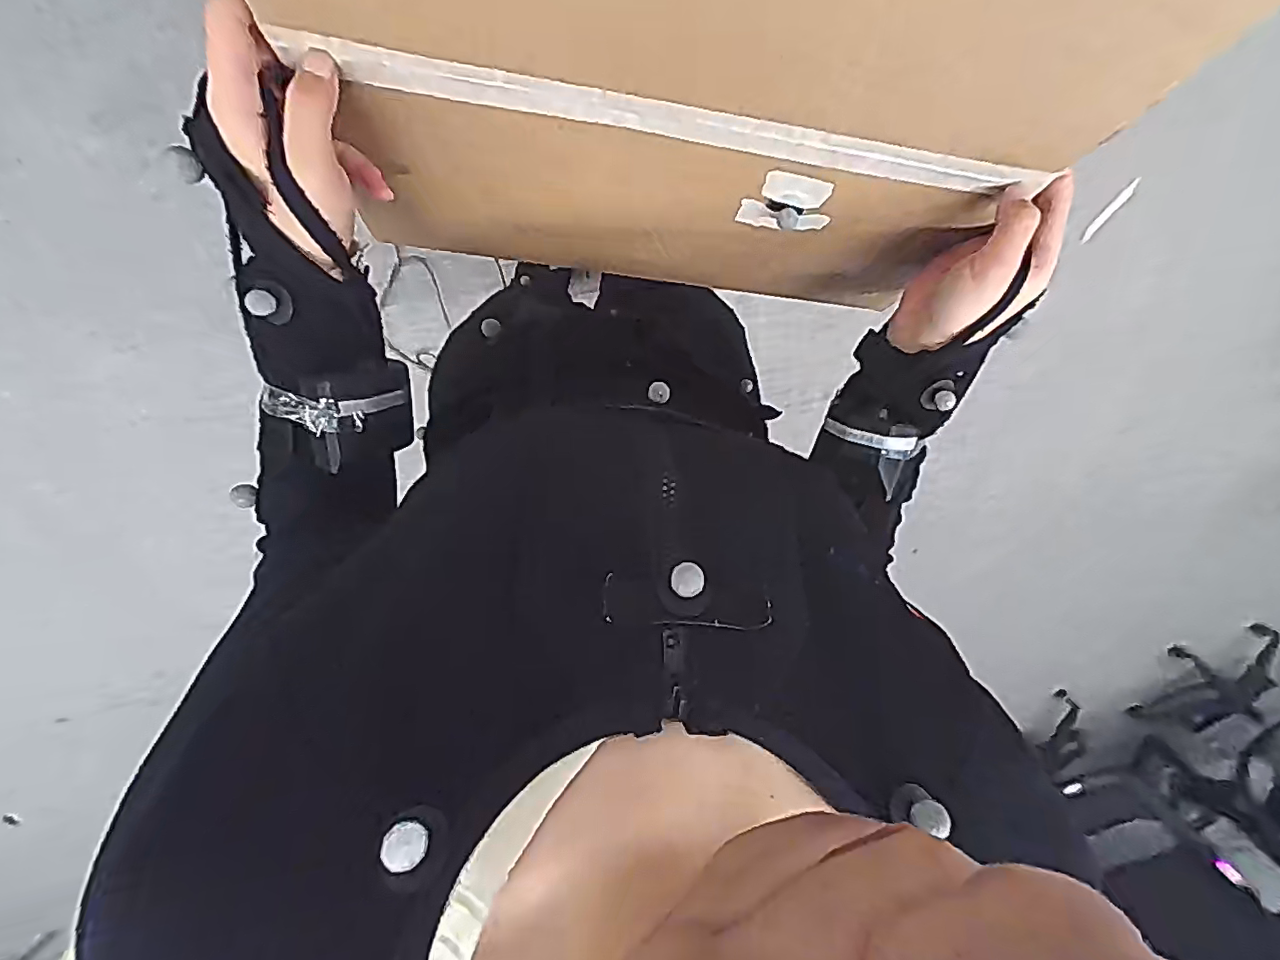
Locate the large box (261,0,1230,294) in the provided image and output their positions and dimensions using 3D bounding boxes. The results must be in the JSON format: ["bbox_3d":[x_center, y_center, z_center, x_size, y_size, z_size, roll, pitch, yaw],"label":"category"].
[{"bbox_3d":[0.031,-0.339,0.306,0.408,0.320,0.320,3,81,-9],"label":"large box"}]
